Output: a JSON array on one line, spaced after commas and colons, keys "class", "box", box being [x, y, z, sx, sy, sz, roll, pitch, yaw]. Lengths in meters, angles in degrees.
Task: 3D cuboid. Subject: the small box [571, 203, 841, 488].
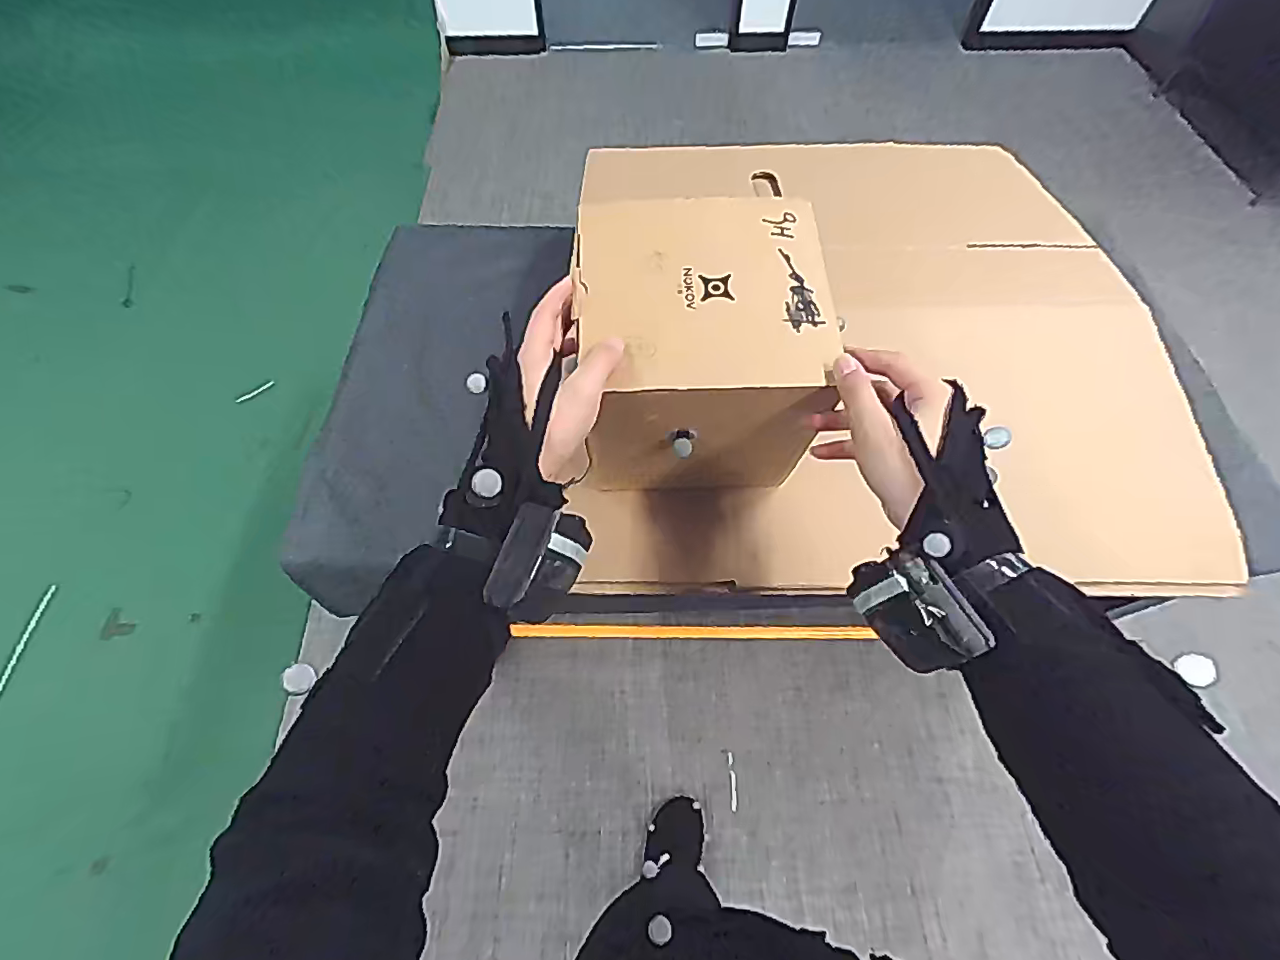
[{"class": "small box", "box": [0.042, -0.098, 0.449, 0.179, 0.176, 0.168, -2, 67, 0]}]
